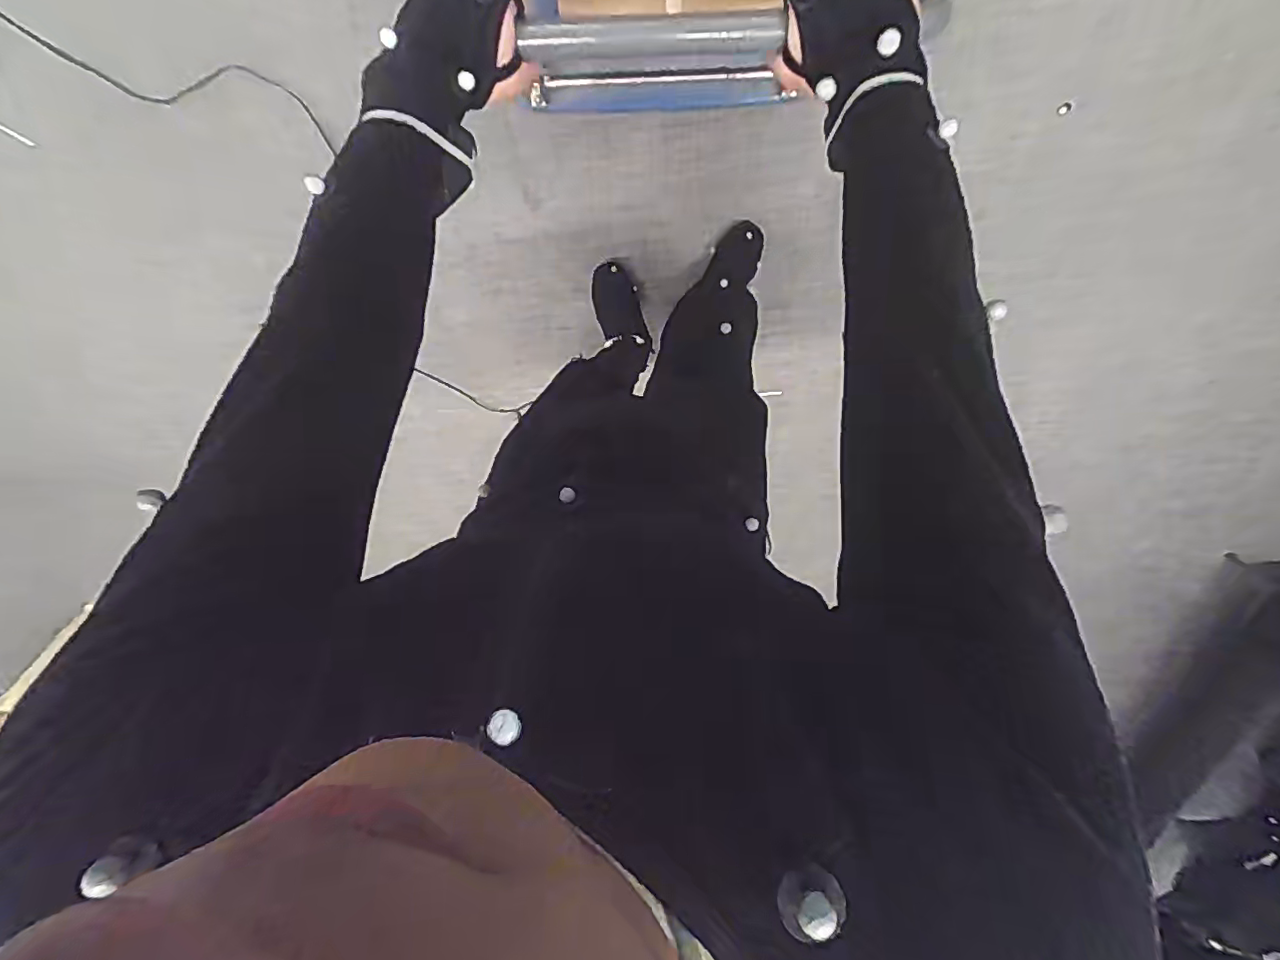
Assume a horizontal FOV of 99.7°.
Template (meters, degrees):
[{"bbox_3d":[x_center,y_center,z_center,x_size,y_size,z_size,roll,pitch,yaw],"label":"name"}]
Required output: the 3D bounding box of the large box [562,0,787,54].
[{"bbox_3d":[0.046,-0.884,0.769,0.320,0.320,0.408,0,124,3],"label":"large box"}]
